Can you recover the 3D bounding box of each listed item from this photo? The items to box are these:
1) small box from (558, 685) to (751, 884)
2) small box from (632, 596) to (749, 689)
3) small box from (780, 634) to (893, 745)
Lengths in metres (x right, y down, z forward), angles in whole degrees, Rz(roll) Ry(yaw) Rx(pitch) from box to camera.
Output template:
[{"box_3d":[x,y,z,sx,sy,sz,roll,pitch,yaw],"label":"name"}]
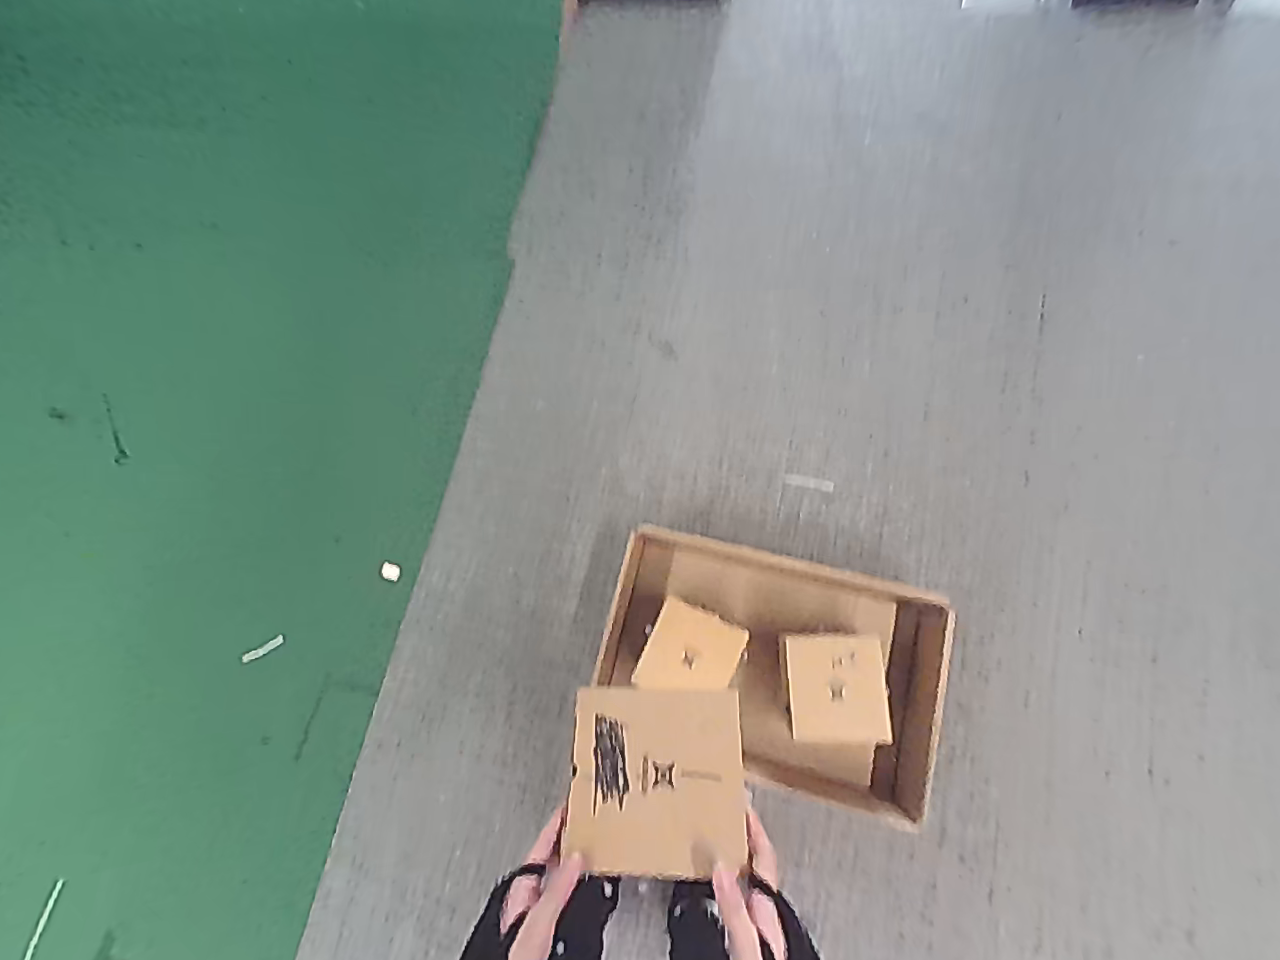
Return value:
[{"box_3d":[0.022,0.332,0.588,0.179,0.176,0.168,-1,55,5],"label":"small box"},{"box_3d":[0.105,0.347,1.069,0.168,0.176,0.179,24,79,13],"label":"small box"},{"box_3d":[0.359,0.384,1.019,0.168,0.176,0.179,-3,76,8],"label":"small box"}]
